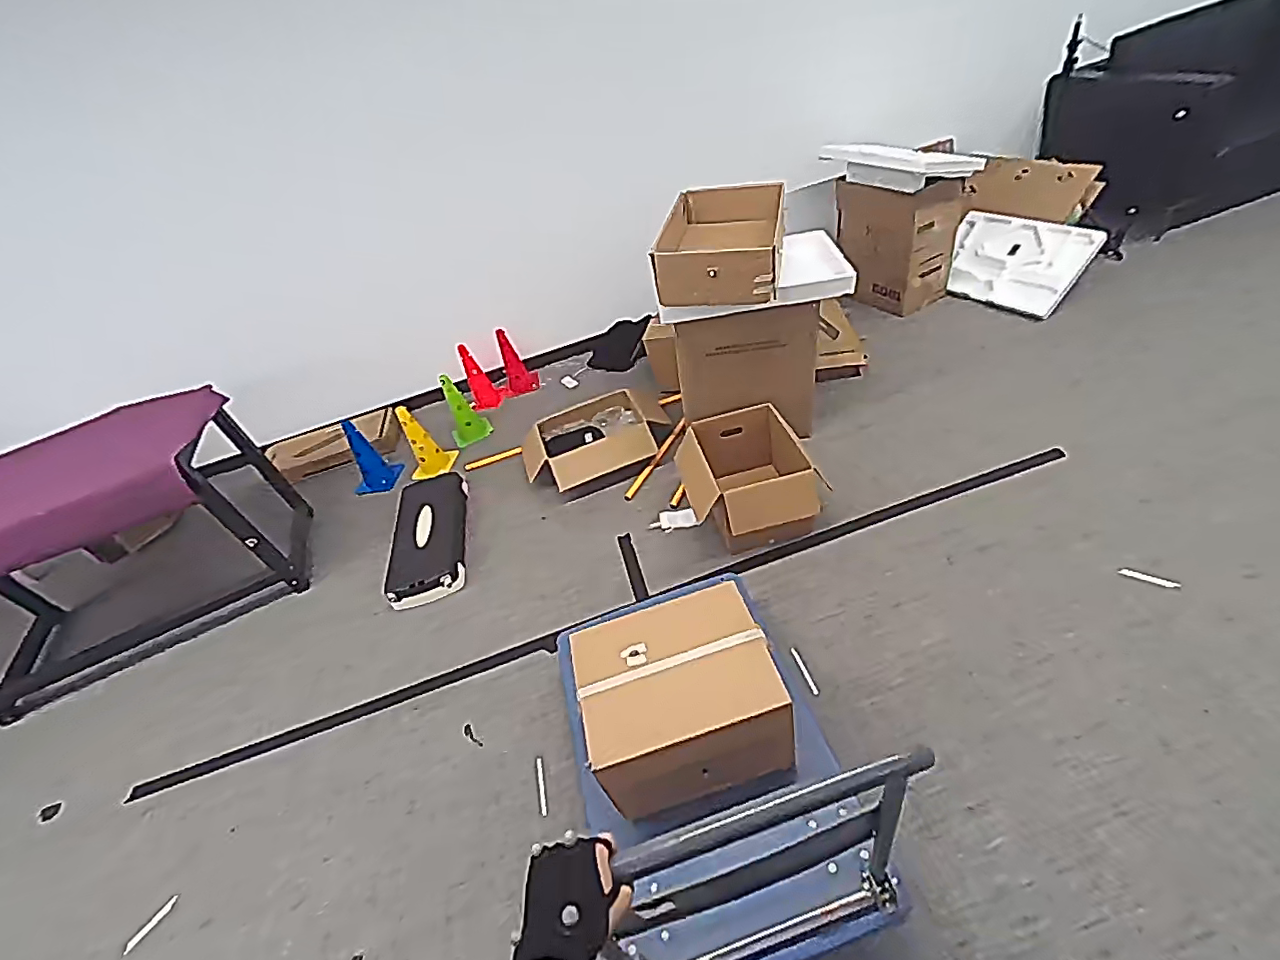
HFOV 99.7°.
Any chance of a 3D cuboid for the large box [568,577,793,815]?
[{"bbox_3d":[0.091,0.487,1.226,0.408,0.320,0.320,-19,40,-2],"label":"large box"}]
